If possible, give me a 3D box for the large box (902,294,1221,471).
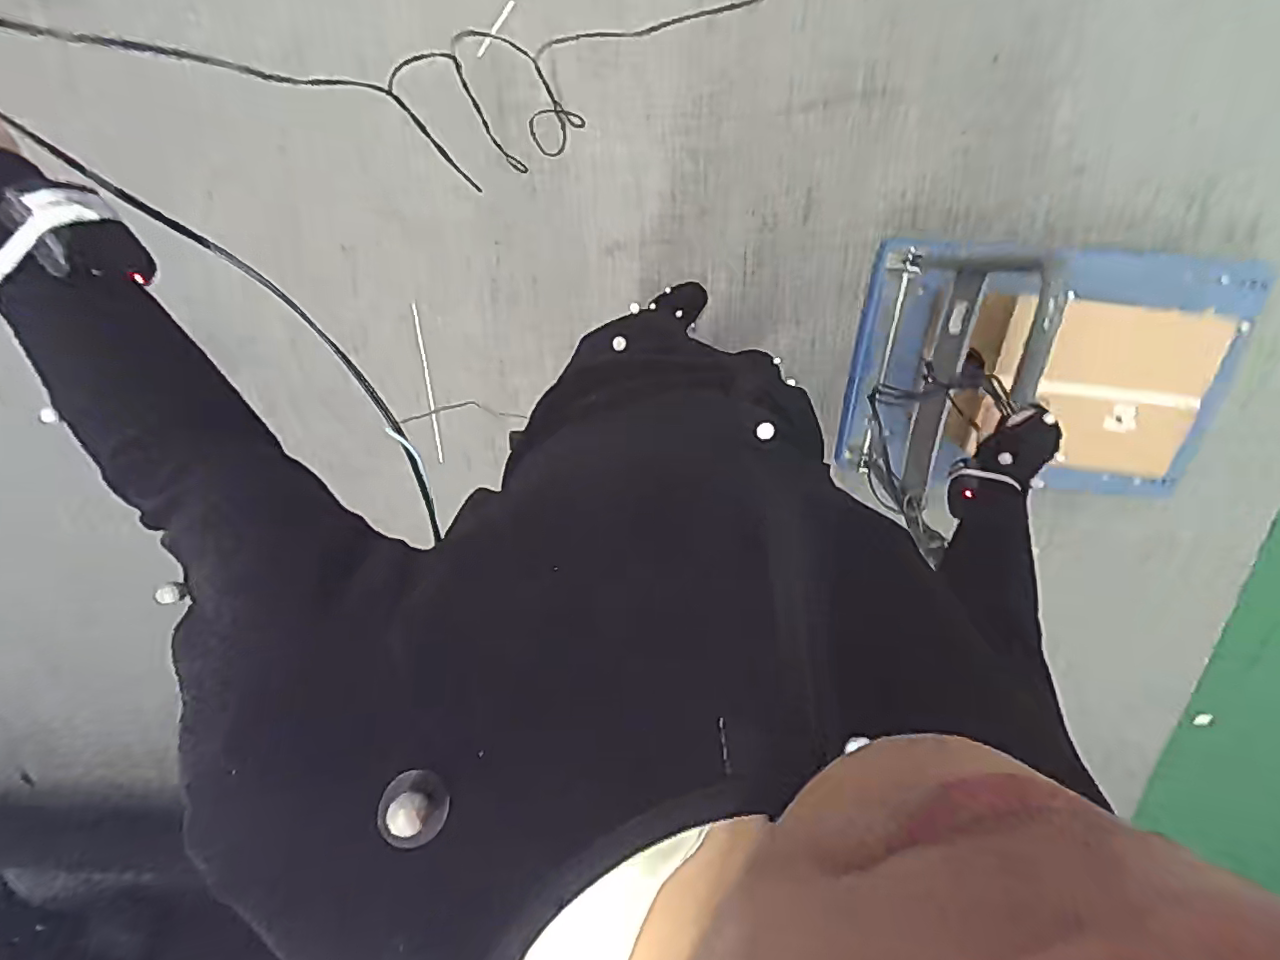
[{"bbox_3d":[0.865,-0.230,1.188,0.408,0.320,0.320,7,112,1],"label":"large box"}]
